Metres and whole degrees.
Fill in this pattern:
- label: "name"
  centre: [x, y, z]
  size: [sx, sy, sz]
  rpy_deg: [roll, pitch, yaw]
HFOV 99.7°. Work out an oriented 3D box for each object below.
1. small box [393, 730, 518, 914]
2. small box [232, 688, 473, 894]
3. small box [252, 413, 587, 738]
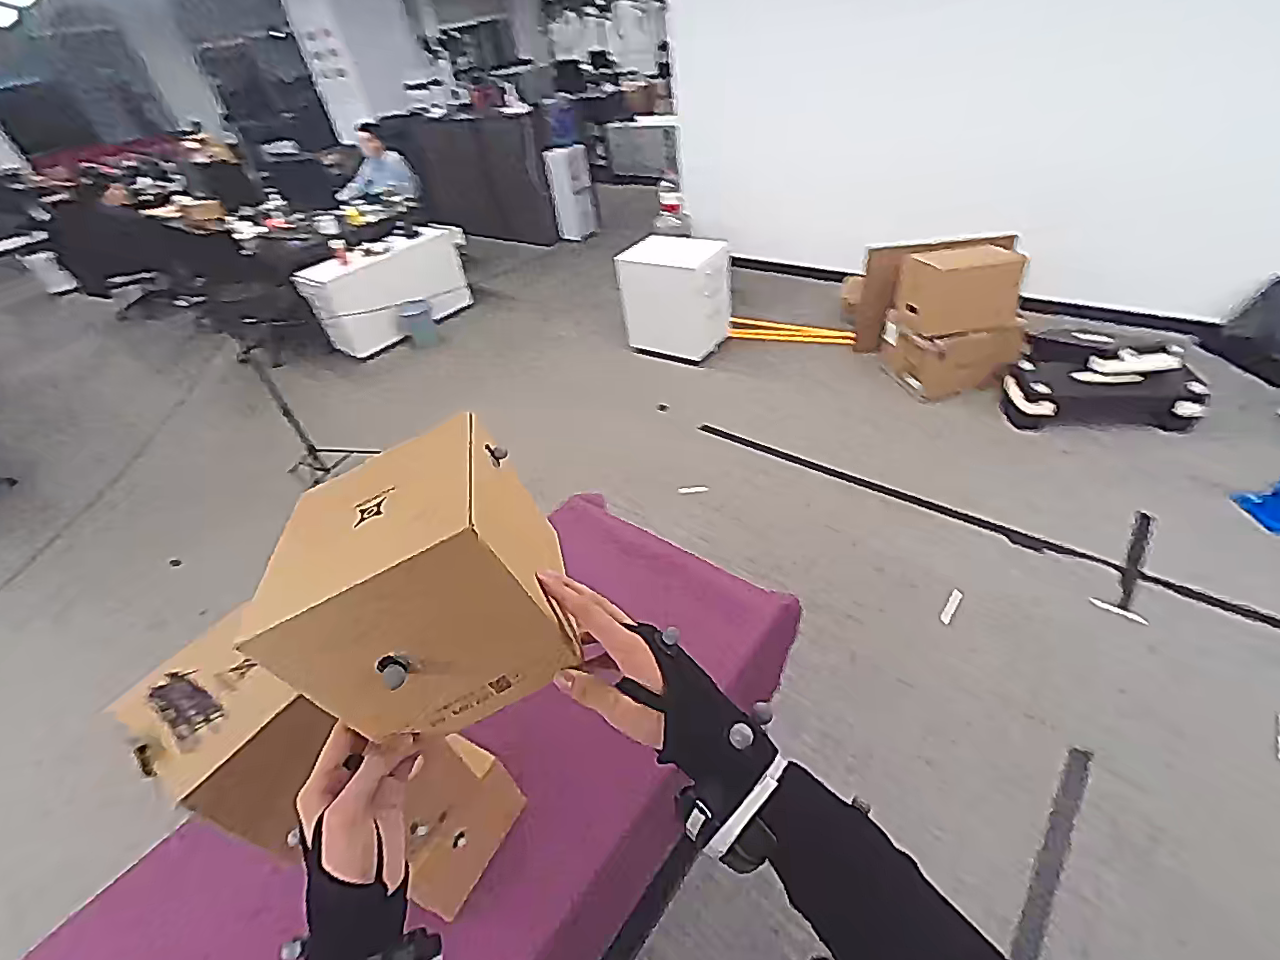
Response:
- label: "small box"
  centre: [-0.304, 0.482, 0.789]
  size: [0.168, 0.176, 0.179]
  rpy_deg: [15, 46, 26]
- label: "small box"
  centre: [-0.344, 0.369, 0.674]
  size: [0.179, 0.176, 0.168]
  rpy_deg: [19, 49, 30]
- label: "small box"
  centre: [-0.157, 0.081, 0.444]
  size: [0.168, 0.176, 0.179]
  rpy_deg: [-26, 34, 1]
